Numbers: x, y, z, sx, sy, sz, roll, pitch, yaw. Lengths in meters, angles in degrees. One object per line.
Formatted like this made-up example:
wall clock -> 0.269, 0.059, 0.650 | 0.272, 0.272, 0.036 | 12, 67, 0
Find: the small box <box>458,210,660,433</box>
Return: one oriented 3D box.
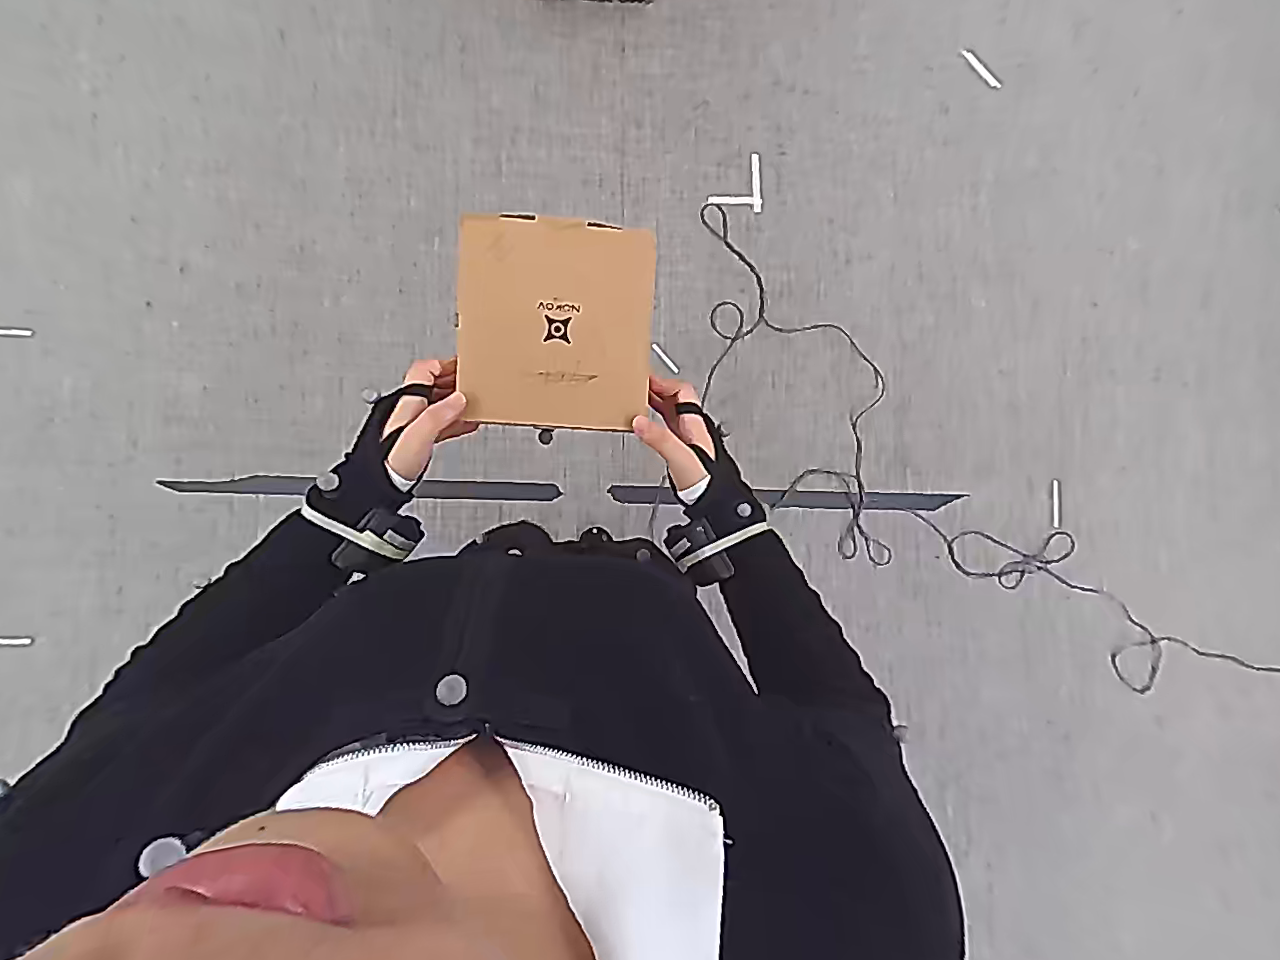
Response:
small box -> -0.078, -0.139, 0.540 | 0.168, 0.176, 0.179 | 3, 95, -6
